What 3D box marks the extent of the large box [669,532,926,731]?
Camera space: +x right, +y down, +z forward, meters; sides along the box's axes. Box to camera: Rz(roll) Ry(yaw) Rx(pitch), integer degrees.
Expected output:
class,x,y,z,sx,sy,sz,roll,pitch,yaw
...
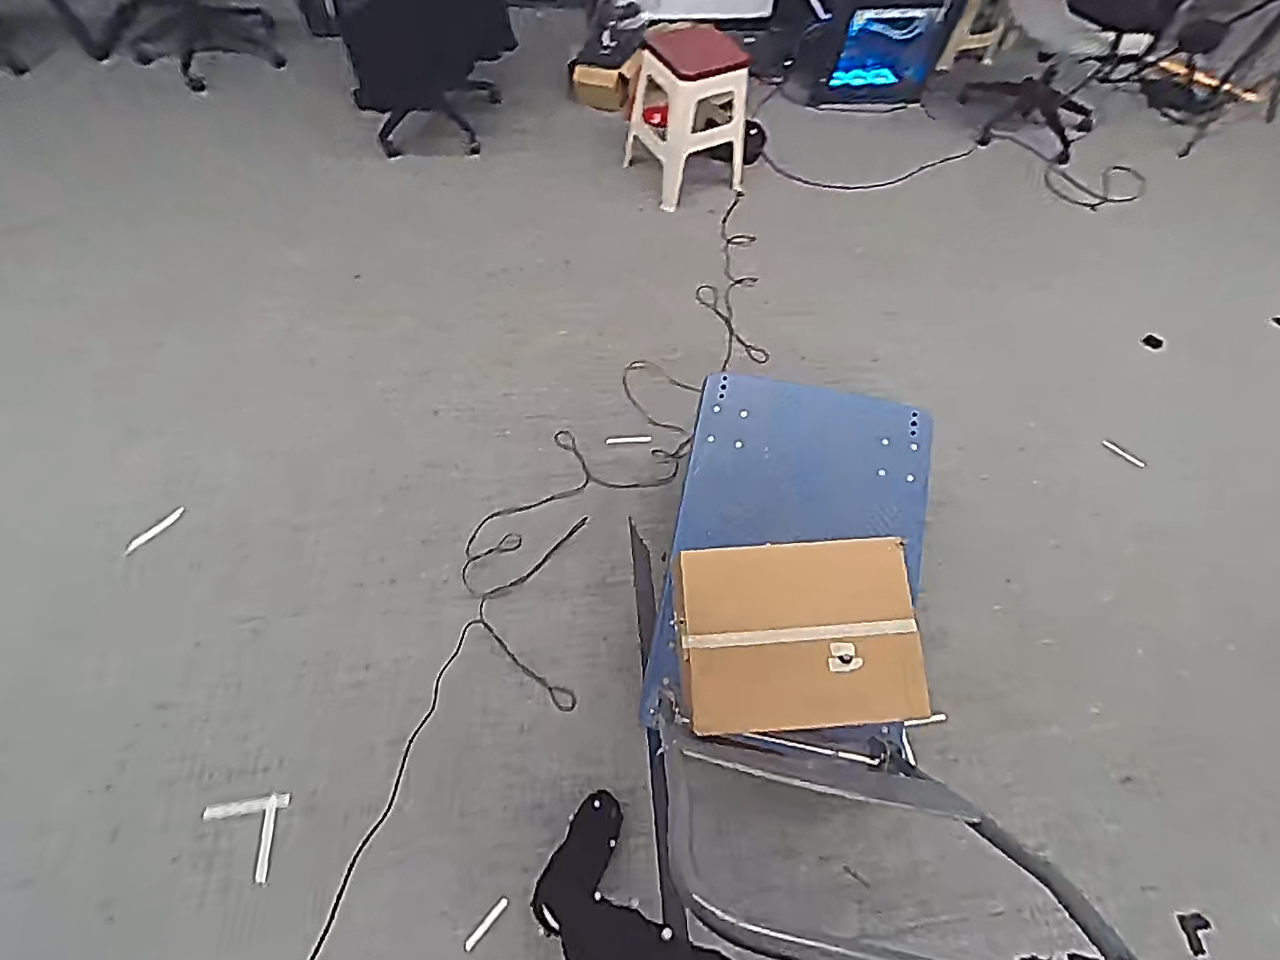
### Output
class,x,y,z,sx,sy,sz,roll,pitch,yaw
large box,0.279,0.292,1.096,0.408,0.320,0.320,-4,79,-2
